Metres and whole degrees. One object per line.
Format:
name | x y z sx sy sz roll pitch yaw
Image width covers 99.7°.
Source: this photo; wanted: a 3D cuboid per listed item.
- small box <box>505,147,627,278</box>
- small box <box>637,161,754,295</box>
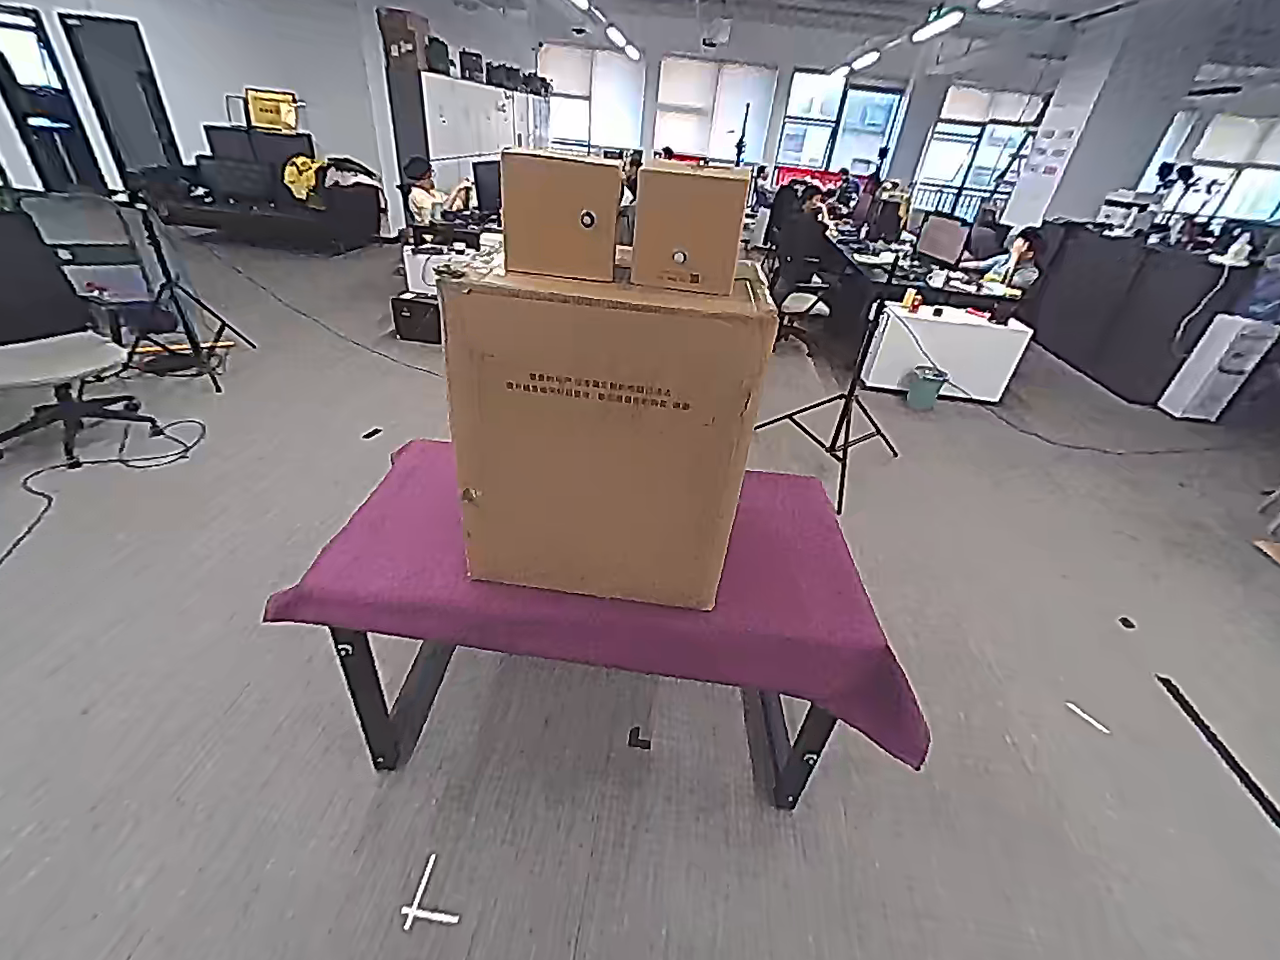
small box | -0.117 -0.438 0.889 0.179 0.176 0.168 4 32 -3
small box | 0.091 -0.419 0.894 0.168 0.176 0.179 9 34 6
